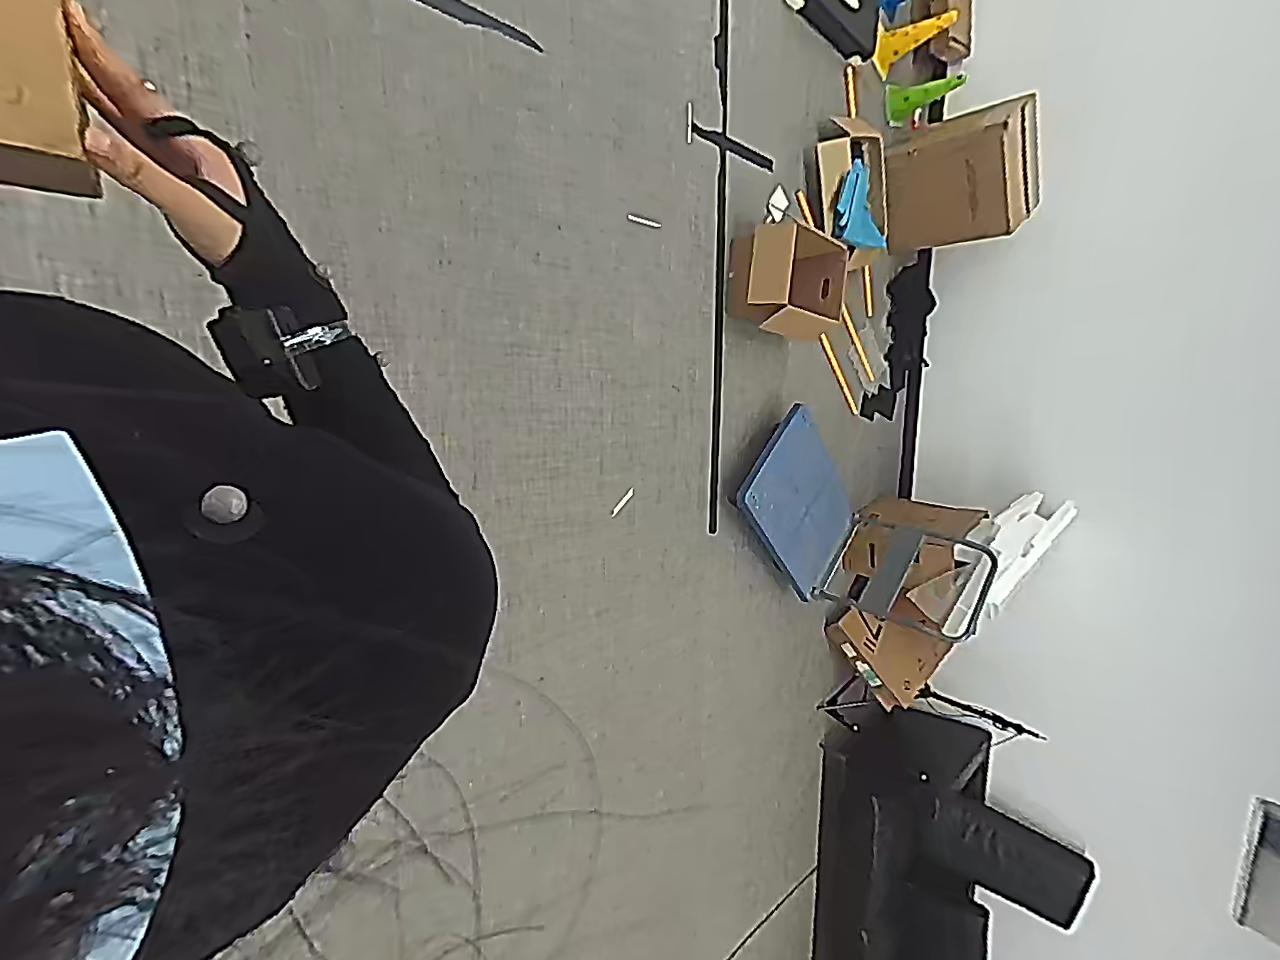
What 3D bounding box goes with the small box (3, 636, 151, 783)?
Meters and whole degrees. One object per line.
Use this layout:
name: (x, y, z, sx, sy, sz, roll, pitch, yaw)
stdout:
small box: (-1.080, 0.434, 1.054, 0.168, 0.176, 0.179, -15, 107, -40)
